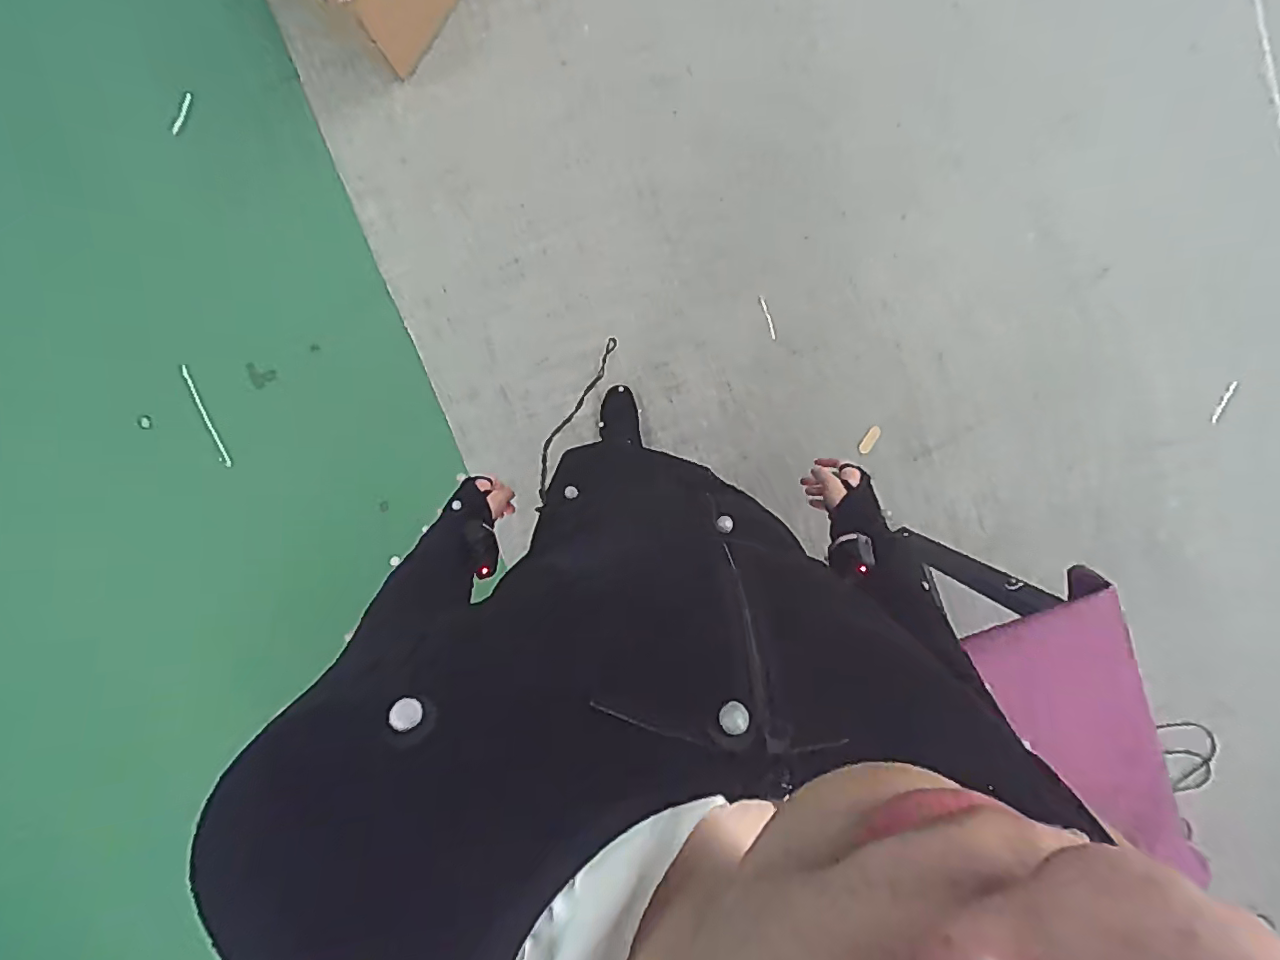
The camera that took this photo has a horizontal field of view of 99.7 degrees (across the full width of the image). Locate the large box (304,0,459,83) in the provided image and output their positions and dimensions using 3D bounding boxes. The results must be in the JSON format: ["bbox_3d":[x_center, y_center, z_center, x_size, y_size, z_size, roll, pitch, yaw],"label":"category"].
[{"bbox_3d":[-0.635,-1.301,1.291,0.320,0.320,0.408,36,97,-4],"label":"large box"}]
